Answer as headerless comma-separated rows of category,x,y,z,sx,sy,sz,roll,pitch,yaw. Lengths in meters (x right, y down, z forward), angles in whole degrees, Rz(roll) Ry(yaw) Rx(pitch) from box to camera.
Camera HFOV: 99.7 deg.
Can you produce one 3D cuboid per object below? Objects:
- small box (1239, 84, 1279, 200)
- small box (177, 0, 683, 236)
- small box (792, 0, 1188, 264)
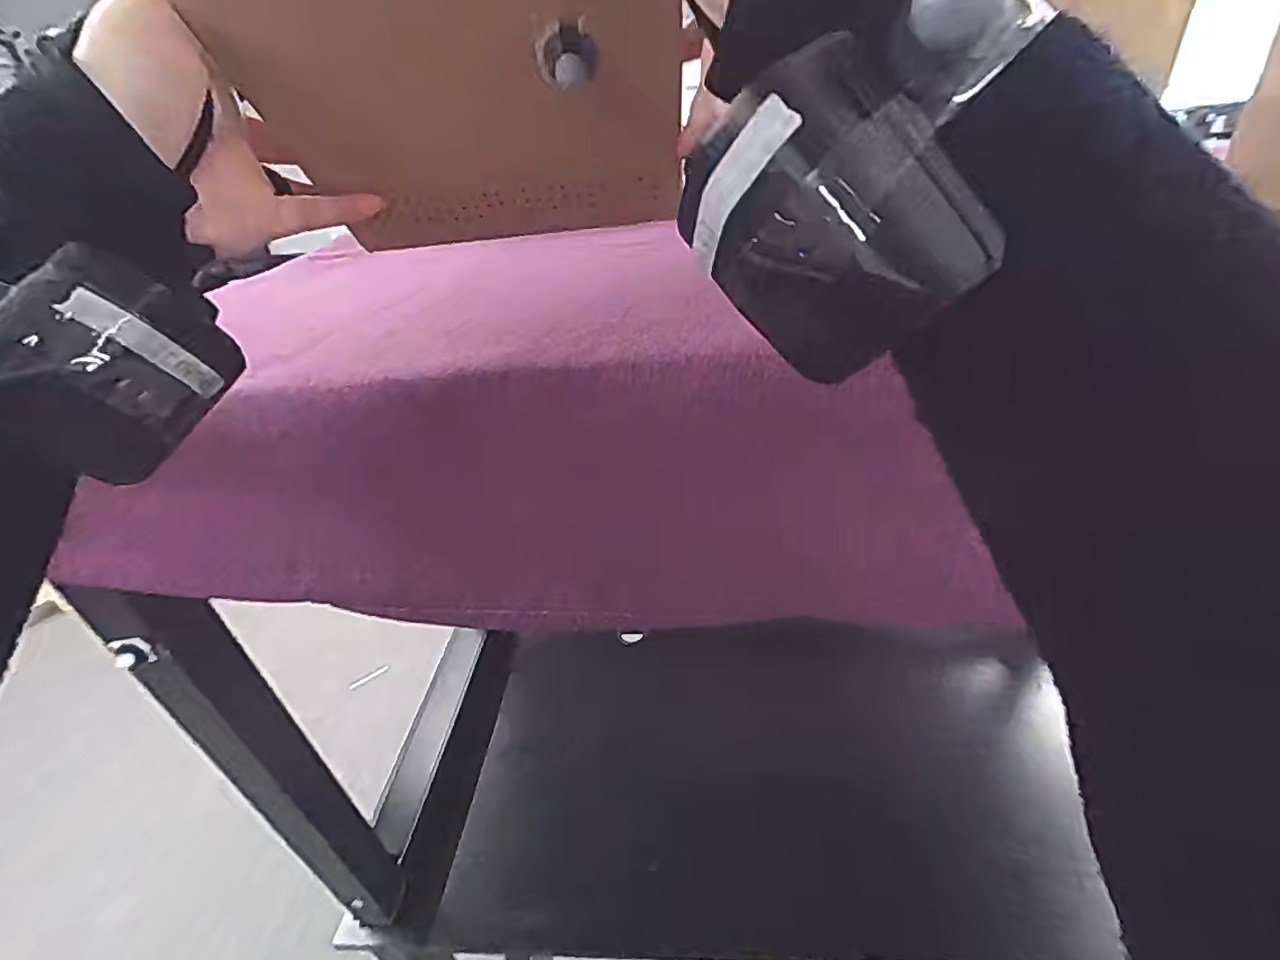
small box,0.535,-0.258,0.314,0.168,0.176,0.179,-2,32,9
small box,-0.073,-0.233,0.232,0.179,0.176,0.168,-5,71,3
small box,0.206,-0.248,0.361,0.168,0.176,0.179,-5,31,1
